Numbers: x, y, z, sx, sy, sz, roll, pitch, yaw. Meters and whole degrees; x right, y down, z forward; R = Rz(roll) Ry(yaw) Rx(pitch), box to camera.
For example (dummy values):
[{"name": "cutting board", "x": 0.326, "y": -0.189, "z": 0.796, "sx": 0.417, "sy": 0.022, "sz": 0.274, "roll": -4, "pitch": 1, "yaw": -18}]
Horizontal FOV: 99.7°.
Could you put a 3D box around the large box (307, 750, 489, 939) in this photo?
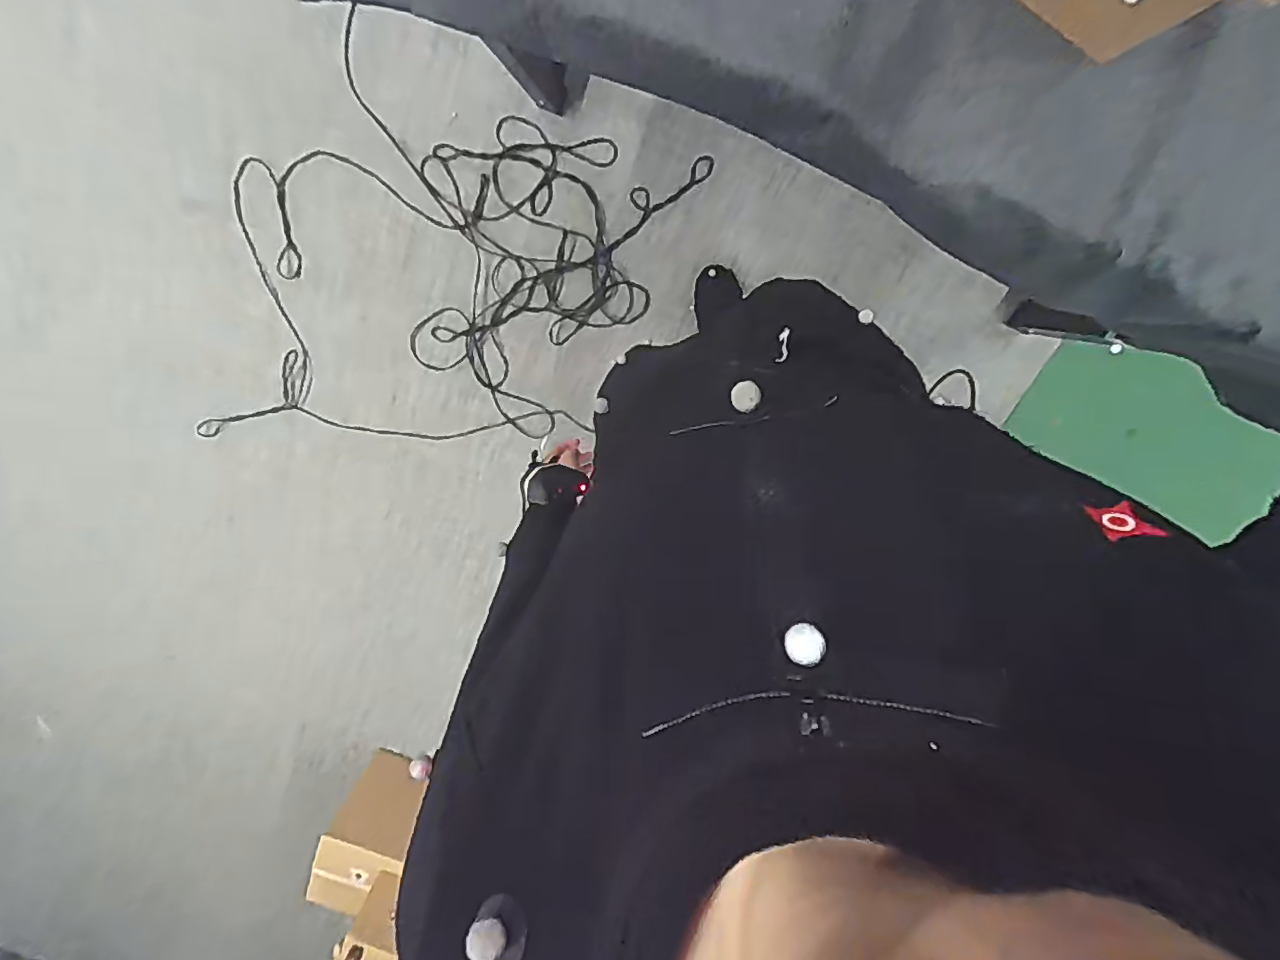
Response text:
[{"name": "large box", "x": -0.755, "y": 1.148, "z": 1.727, "sx": 0.408, "sy": 0.320, "sz": 0.320, "roll": 22, "pitch": 109, "yaw": -2}]
